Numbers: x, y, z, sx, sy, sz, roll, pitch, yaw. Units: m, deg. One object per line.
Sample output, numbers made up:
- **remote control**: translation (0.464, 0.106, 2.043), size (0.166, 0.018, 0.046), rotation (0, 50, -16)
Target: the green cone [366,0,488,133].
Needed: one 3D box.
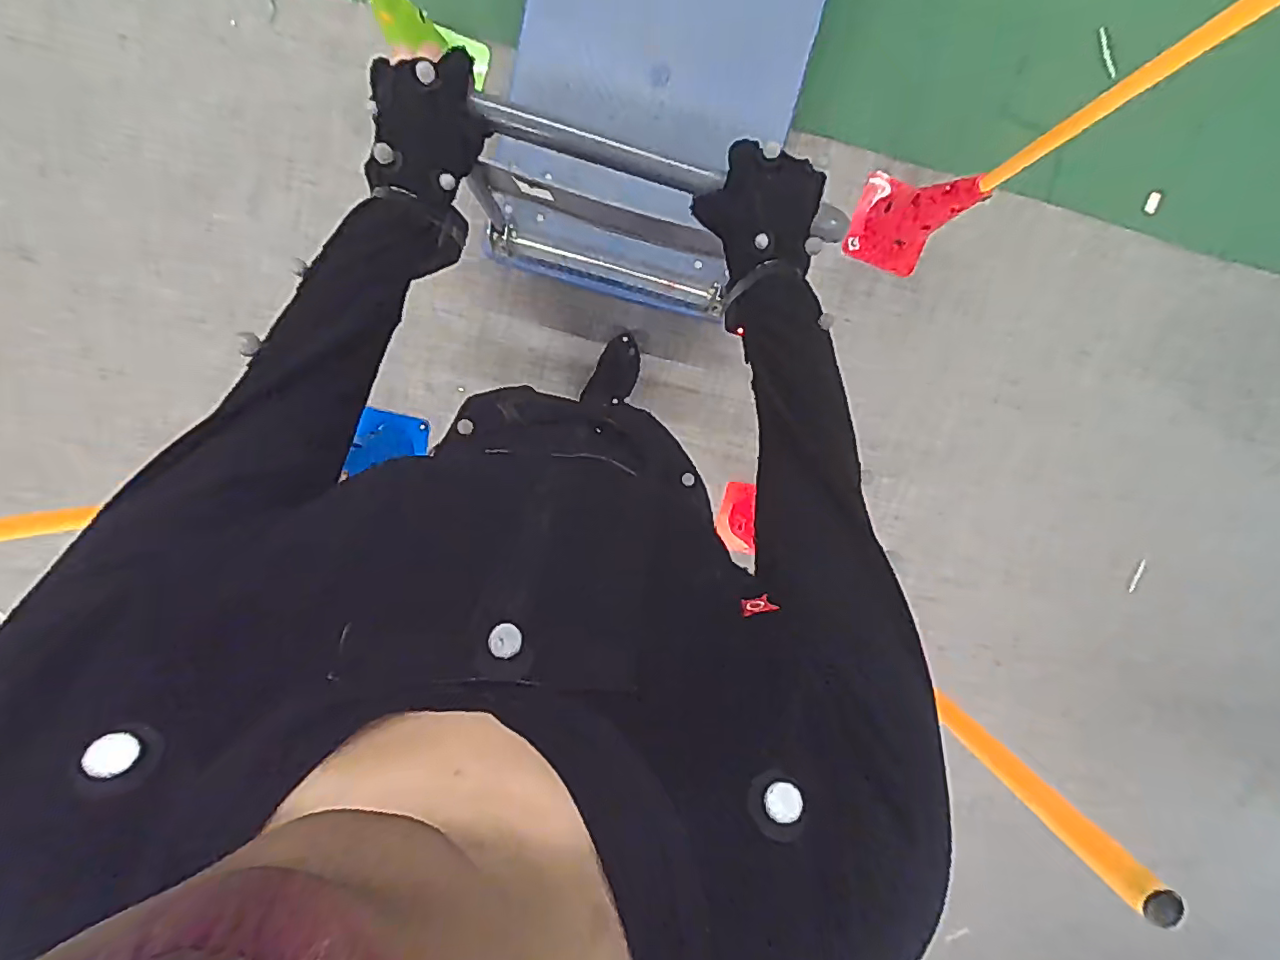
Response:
- **green cone**: translation (-0.456, -0.887, 1.067), size (0.202, 0.368, 0.200), rotation (18, 102, -6)

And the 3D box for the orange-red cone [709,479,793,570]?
- **orange-red cone**: translation (0.314, 0.143, 1.362), size (0.199, 0.360, 0.198), rotation (13, 102, -4)
